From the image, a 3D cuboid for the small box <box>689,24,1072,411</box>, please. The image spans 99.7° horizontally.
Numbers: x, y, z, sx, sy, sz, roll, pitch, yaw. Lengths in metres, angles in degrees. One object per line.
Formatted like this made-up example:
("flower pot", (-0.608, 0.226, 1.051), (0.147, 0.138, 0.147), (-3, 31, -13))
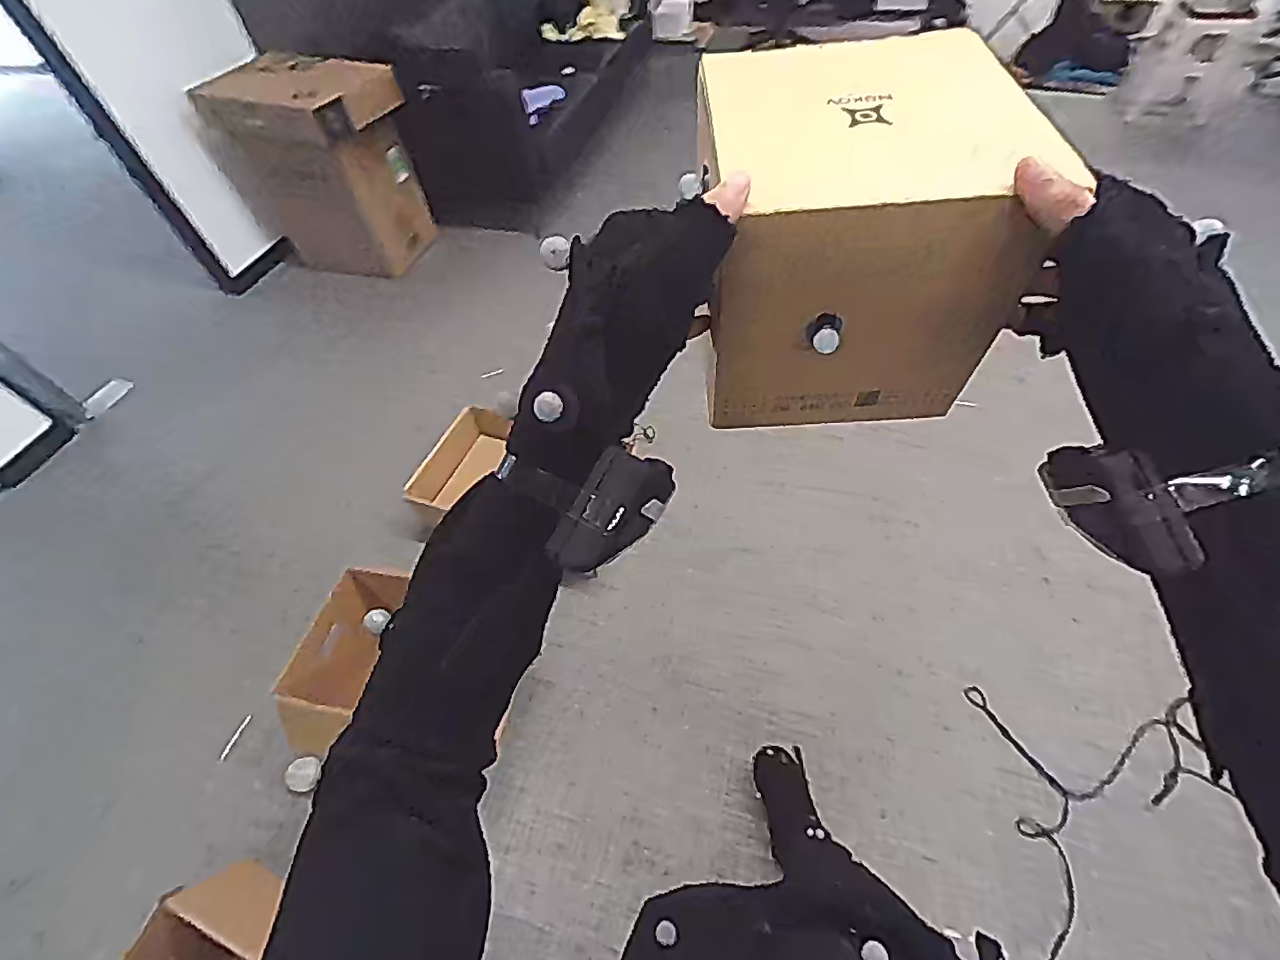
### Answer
("small box", (0.121, -0.158, 0.360), (0.168, 0.176, 0.179), (-4, 57, 3))
